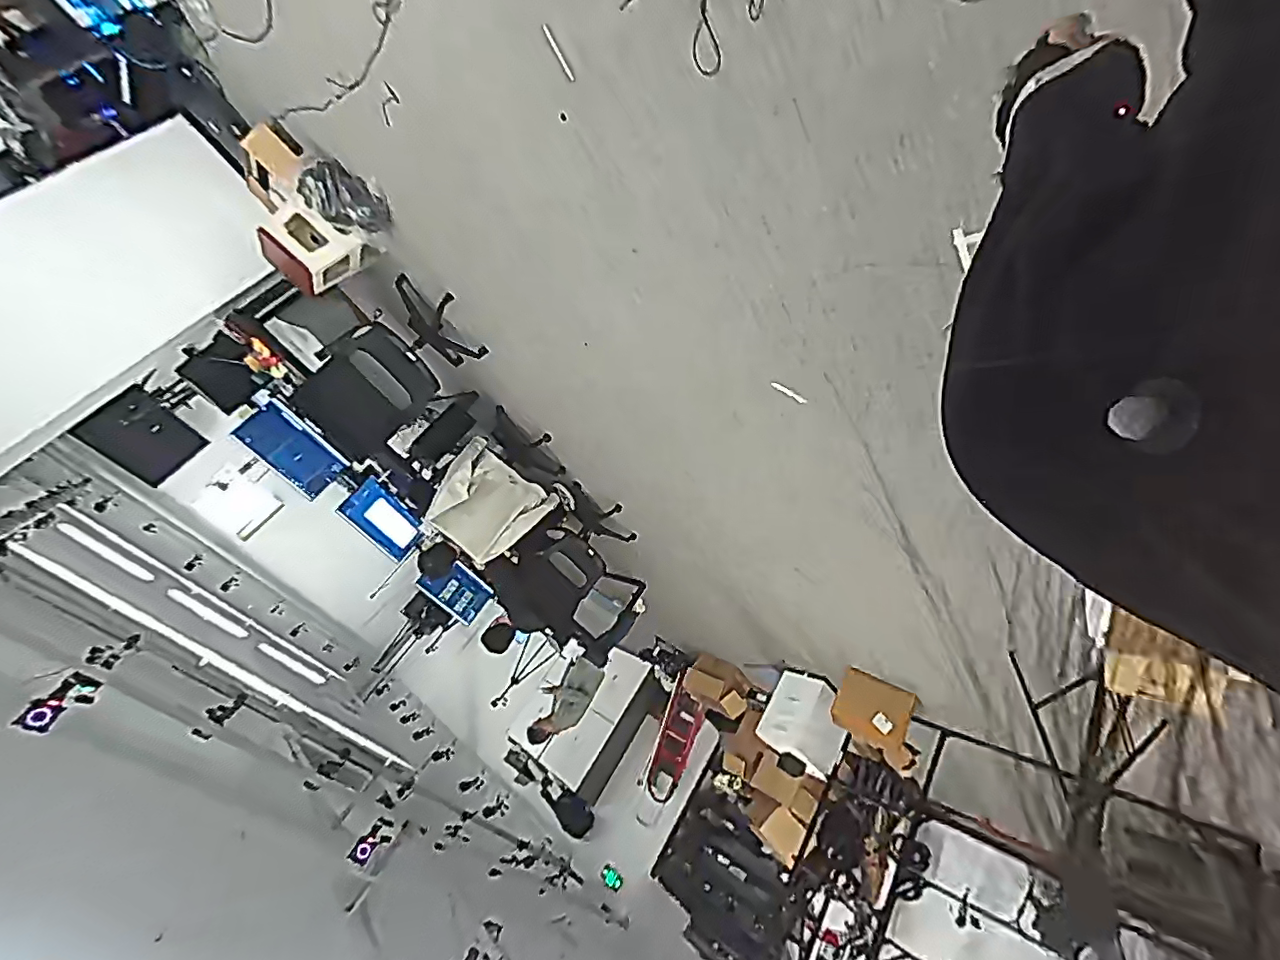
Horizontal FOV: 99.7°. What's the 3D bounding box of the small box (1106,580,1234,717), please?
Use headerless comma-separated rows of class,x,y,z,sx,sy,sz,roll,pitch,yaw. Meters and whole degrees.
small box,1.033,0.321,1.059,0.168,0.176,0.179,7,142,46
